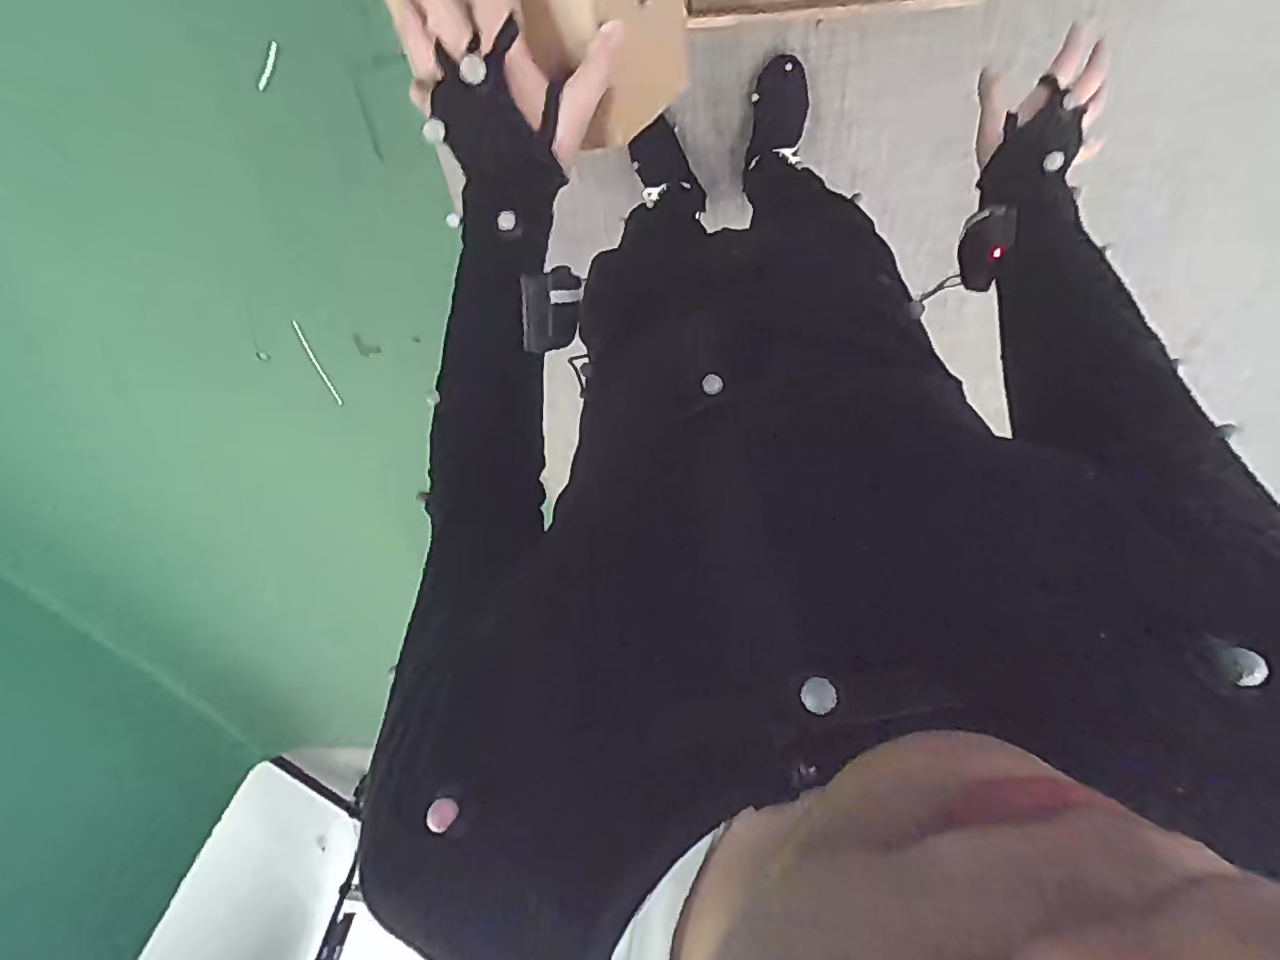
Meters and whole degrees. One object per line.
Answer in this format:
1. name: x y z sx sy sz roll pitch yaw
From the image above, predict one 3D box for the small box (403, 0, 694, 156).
1. small box: -0.065 -0.382 0.421 0.168 0.176 0.179 8 139 22
